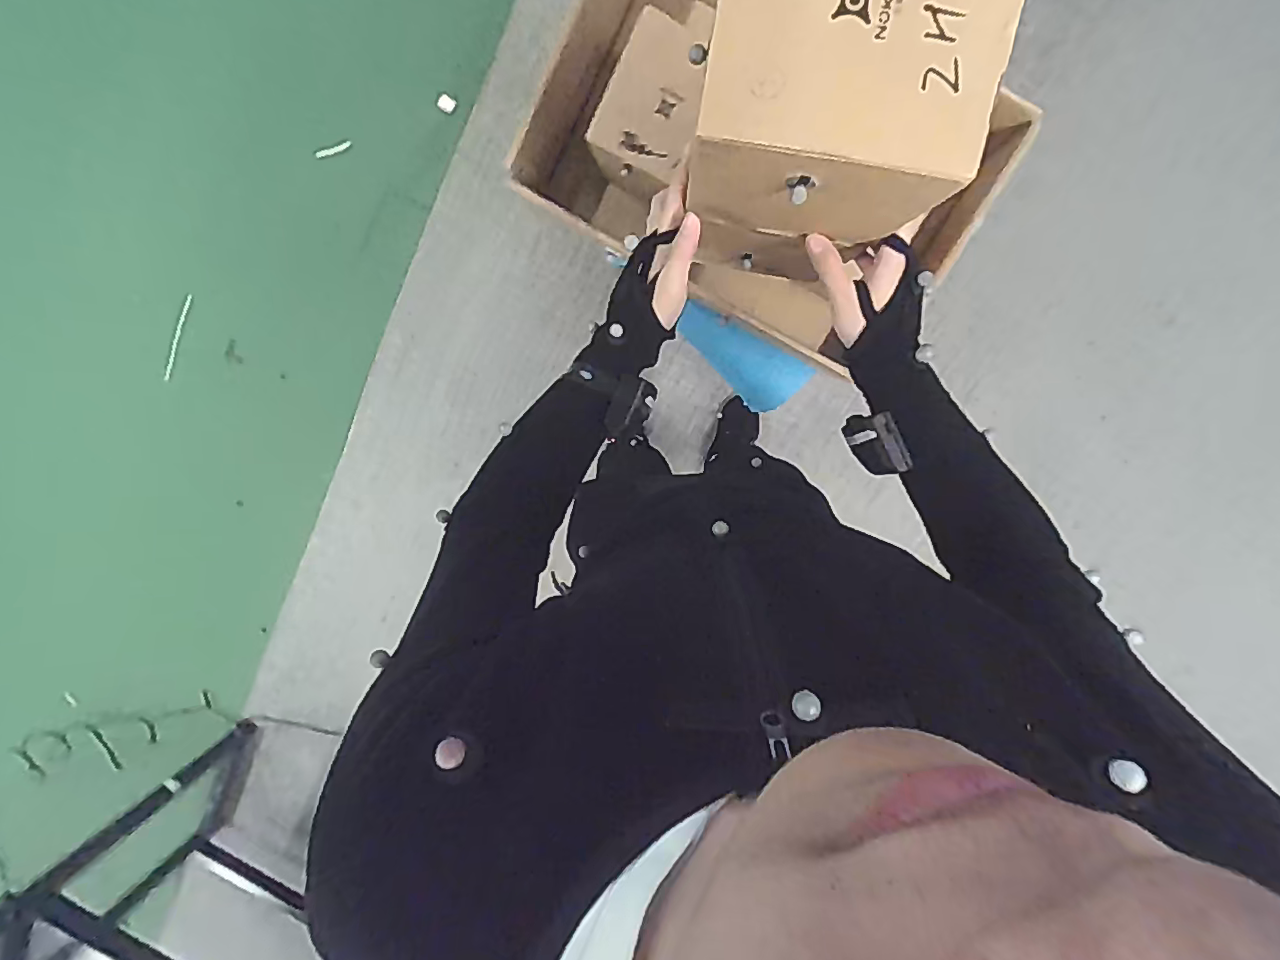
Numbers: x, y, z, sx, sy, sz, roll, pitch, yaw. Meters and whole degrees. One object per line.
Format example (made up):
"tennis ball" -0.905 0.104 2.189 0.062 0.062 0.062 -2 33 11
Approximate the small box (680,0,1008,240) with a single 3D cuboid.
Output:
"small box" 0.126 -0.288 0.391 0.179 0.176 0.168 9 101 1

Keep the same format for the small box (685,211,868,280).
"small box" 0.140 -0.321 0.552 0.168 0.176 0.179 10 101 1
